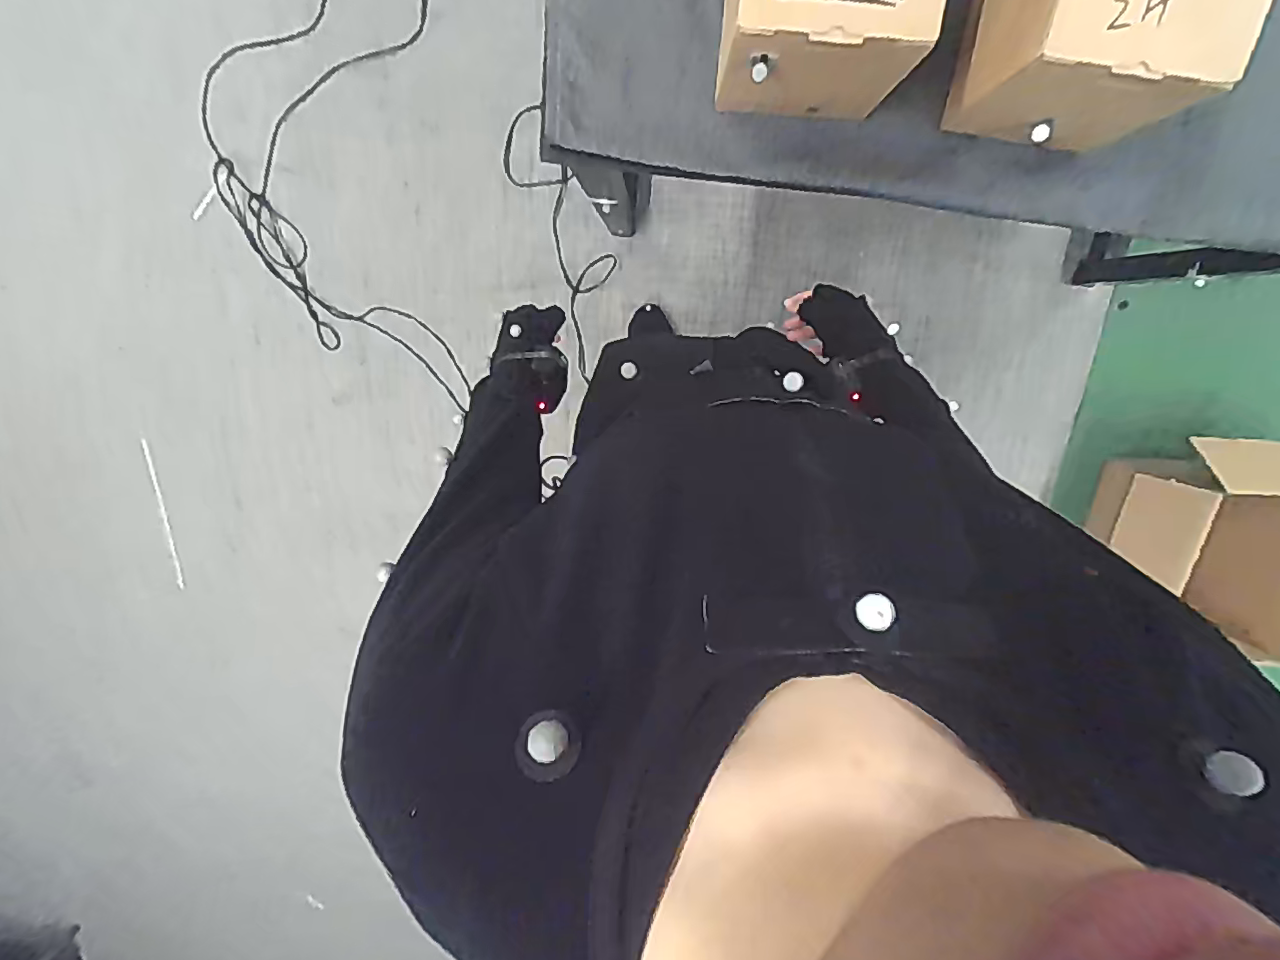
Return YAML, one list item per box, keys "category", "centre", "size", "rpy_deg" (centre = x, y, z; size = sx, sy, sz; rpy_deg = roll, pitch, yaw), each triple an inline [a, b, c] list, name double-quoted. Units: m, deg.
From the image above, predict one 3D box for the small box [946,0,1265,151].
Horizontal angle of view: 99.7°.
- category: "small box"
  centre: [0.420, -0.437, 0.500]
  size: [0.168, 0.176, 0.179]
  rpy_deg: [8, 106, -1]
